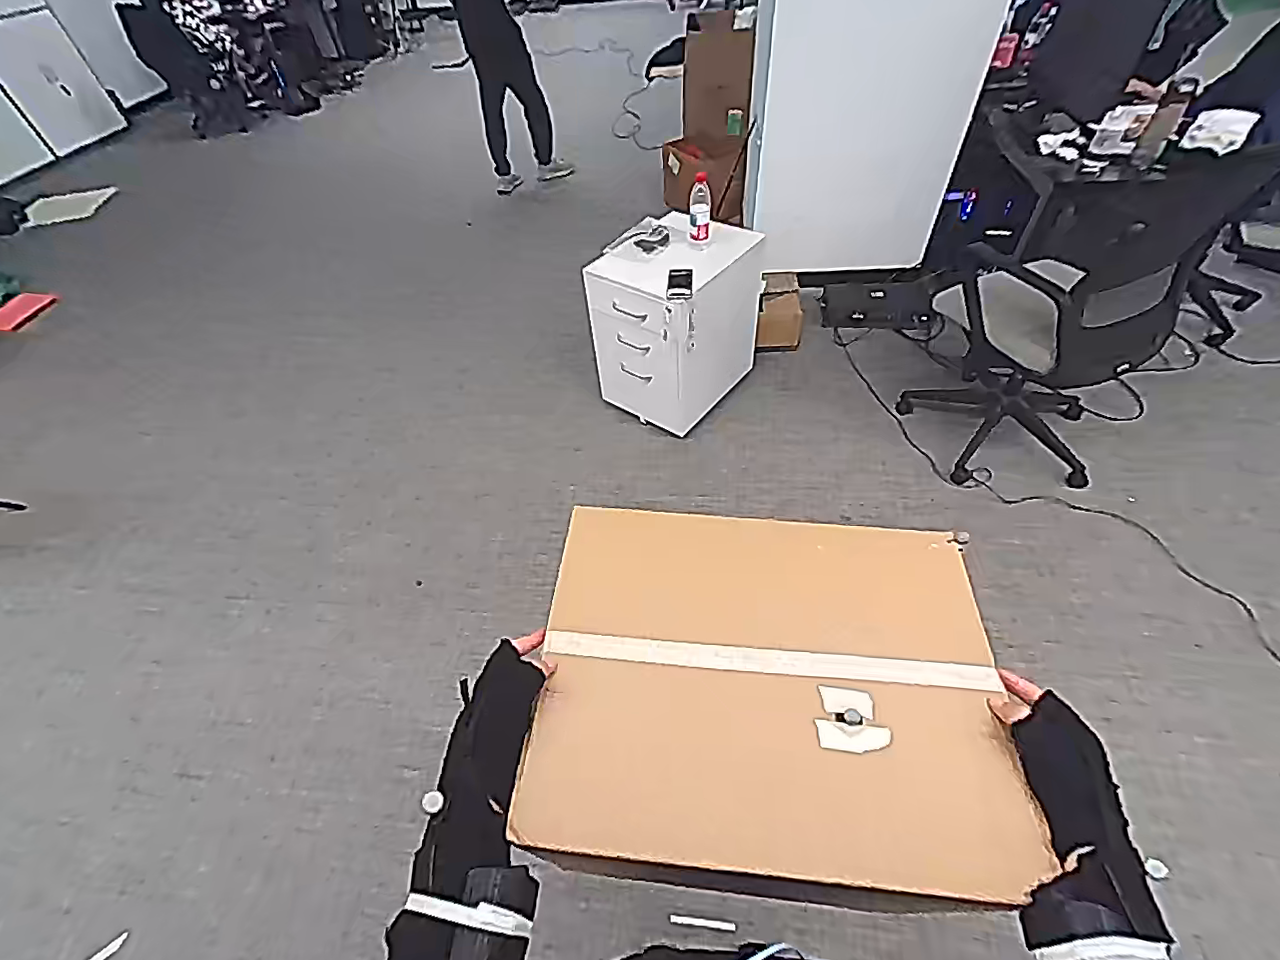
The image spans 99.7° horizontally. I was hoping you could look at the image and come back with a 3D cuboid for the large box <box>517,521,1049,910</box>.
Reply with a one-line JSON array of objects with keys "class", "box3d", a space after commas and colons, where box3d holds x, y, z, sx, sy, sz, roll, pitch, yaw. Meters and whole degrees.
[{"class": "large box", "box3d": [0.113, 0.268, 0.609, 0.408, 0.320, 0.320, 4, 52, 4]}]
